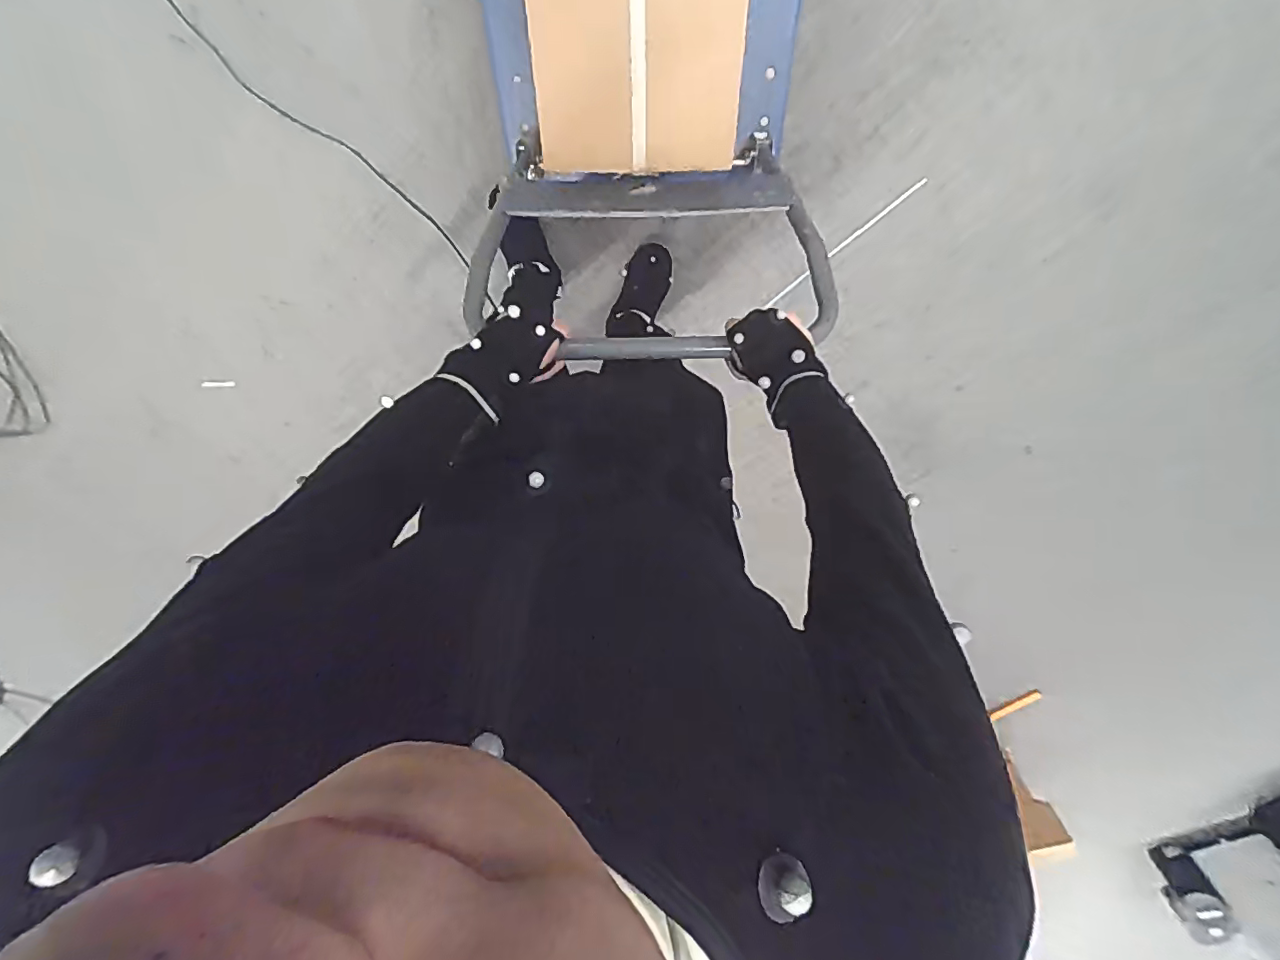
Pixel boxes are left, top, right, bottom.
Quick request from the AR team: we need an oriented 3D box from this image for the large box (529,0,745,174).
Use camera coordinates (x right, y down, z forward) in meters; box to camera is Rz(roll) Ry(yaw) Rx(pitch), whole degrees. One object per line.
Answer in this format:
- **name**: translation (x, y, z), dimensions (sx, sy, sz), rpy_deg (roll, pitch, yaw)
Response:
- **large box**: translation (0.000, -0.765, 0.889), dimensions (0.320, 0.320, 0.408), rpy_deg (0, 132, 1)
